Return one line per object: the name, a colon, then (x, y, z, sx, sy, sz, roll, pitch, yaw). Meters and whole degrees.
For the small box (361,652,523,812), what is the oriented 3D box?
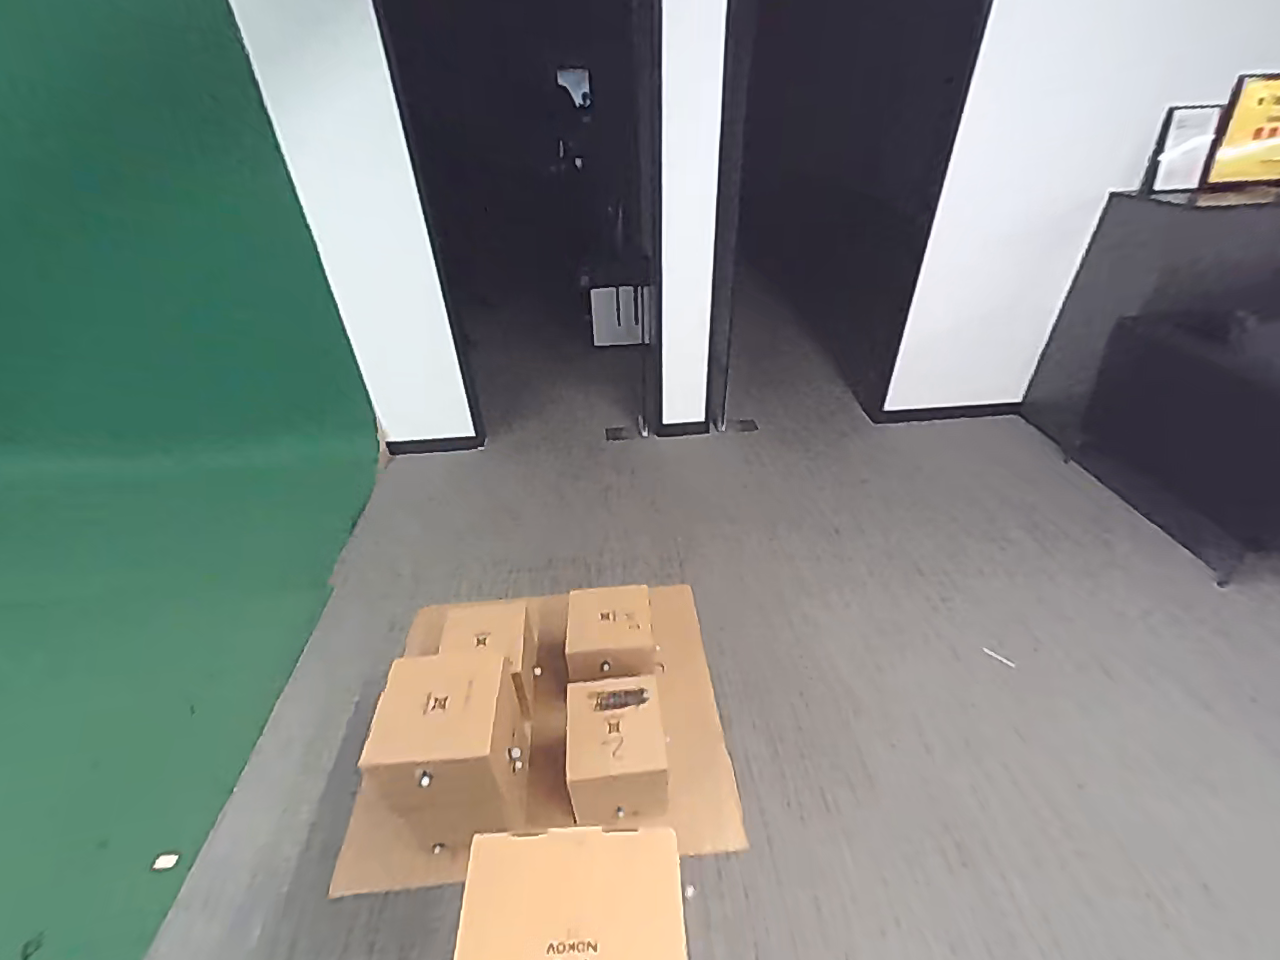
small box: (-0.289, 0.390, 0.835, 0.179, 0.176, 0.168, -3, 37, -1)

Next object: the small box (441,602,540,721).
small box: (-0.304, 0.381, 1.124, 0.168, 0.176, 0.179, -6, 35, -3)

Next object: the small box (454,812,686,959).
small box: (-0.051, 0.395, 0.434, 0.168, 0.176, 0.179, 0, 40, -4)

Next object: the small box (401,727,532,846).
small box: (-0.289, 0.512, 0.944, 0.168, 0.176, 0.179, -4, 35, -1)
